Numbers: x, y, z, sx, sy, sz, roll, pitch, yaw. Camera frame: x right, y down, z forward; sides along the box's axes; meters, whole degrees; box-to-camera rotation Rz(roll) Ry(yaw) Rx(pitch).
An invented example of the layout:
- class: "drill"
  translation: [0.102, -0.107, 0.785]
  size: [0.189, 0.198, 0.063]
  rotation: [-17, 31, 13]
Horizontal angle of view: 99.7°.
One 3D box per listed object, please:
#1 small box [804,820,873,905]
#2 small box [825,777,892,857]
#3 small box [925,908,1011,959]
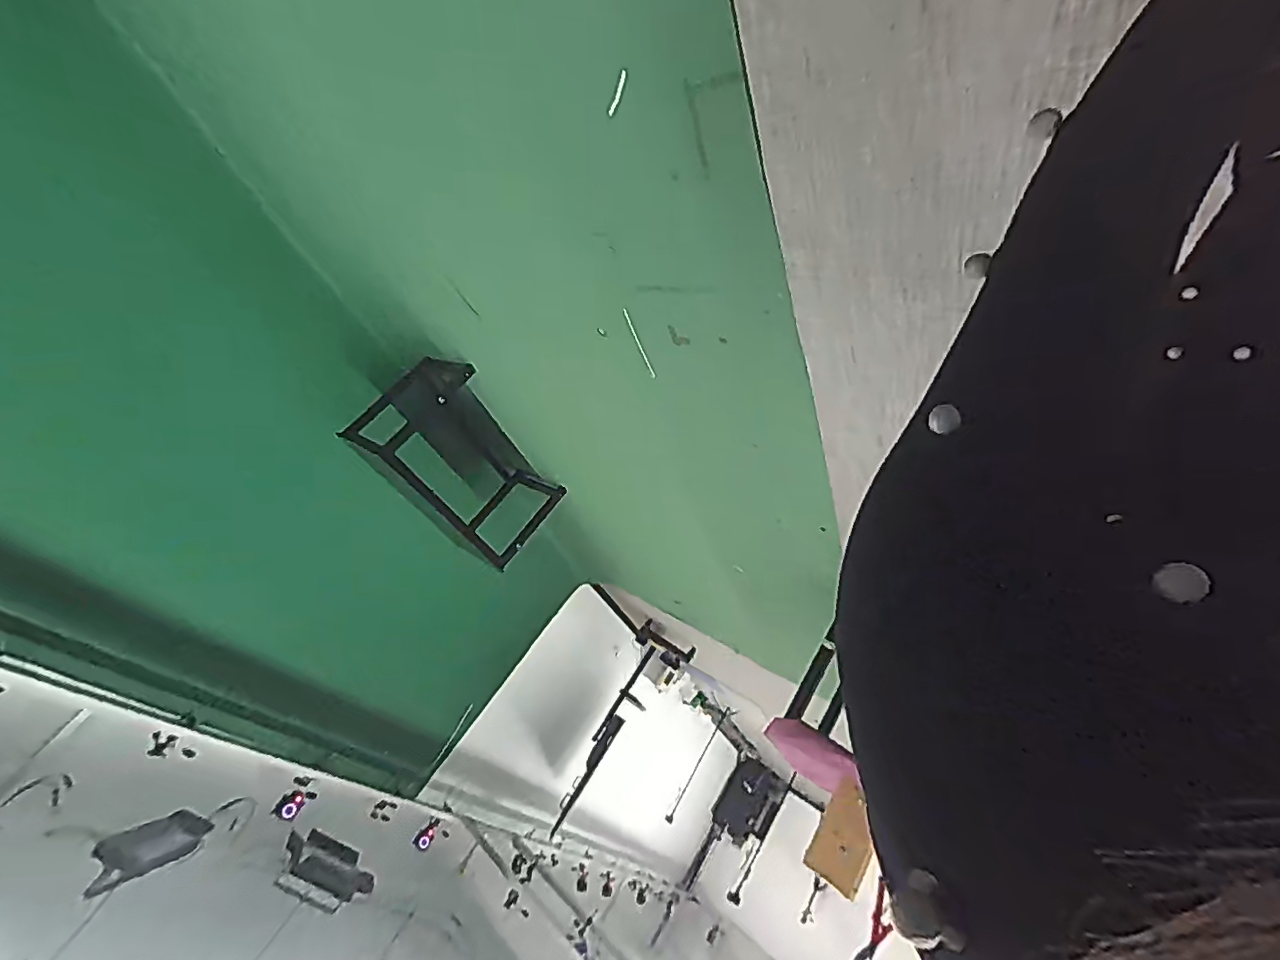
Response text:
- class: "small box"
  translation: [0.691, 1.319, 1.869]
  size: [0.168, 0.176, 0.179]
  rotation: [19, 151, 39]
- class: "small box"
  translation: [0.782, 1.196, 1.925]
  size: [0.168, 0.176, 0.179]
  rotation: [19, 151, 38]
- class: "small box"
  translation: [0.991, 1.438, 1.637]
  size: [0.179, 0.176, 0.168]
  rotation: [19, 154, 41]
